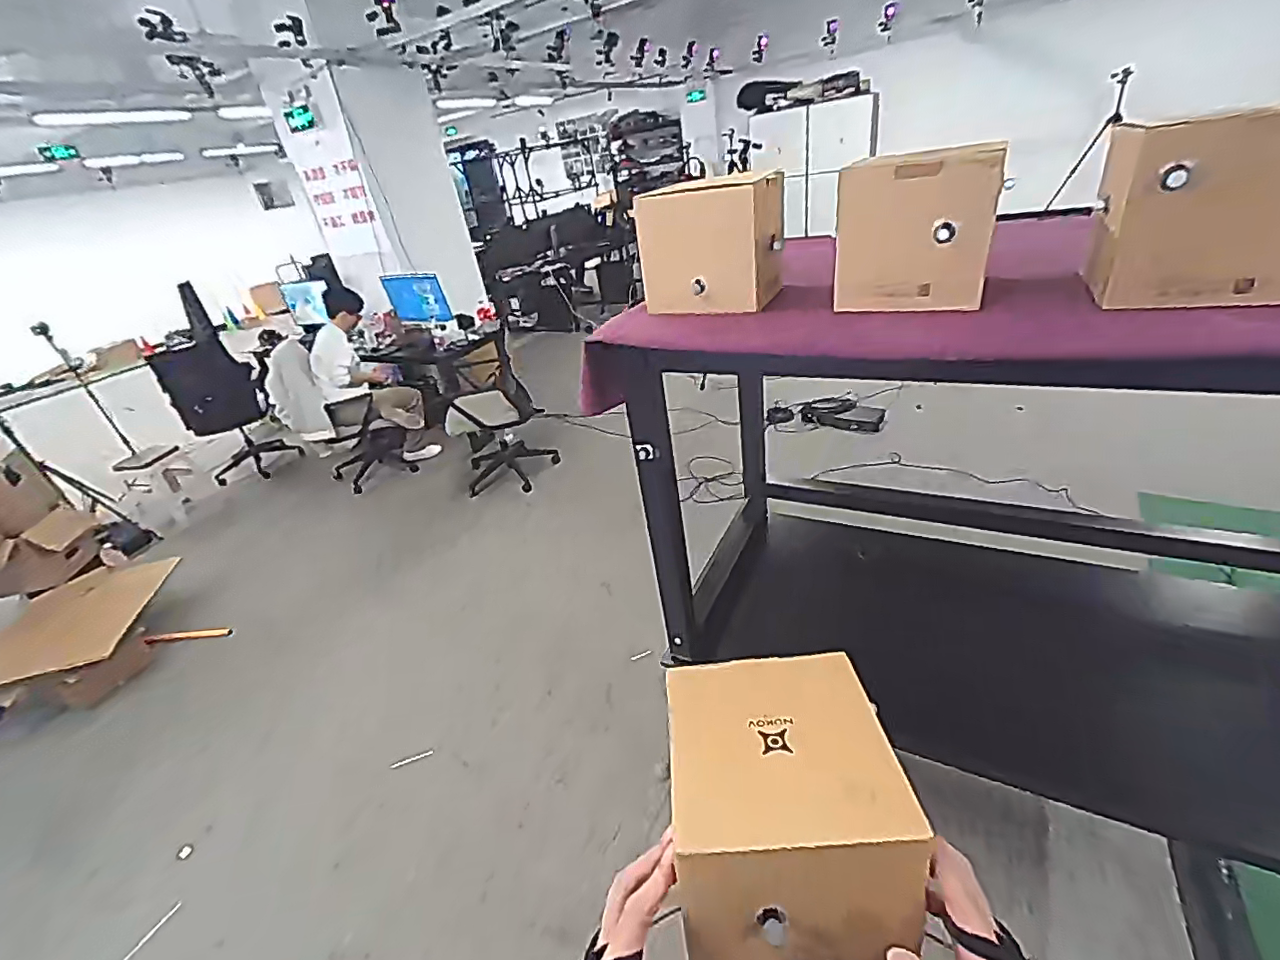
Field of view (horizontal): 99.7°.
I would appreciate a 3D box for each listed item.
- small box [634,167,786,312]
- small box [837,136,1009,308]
[{"bbox_3d":[0.113,-0.357,0.811,0.179,0.176,0.168,8,34,26],"label":"small box"},{"bbox_3d":[0.354,-0.322,0.686,0.168,0.176,0.179,11,35,29],"label":"small box"}]
